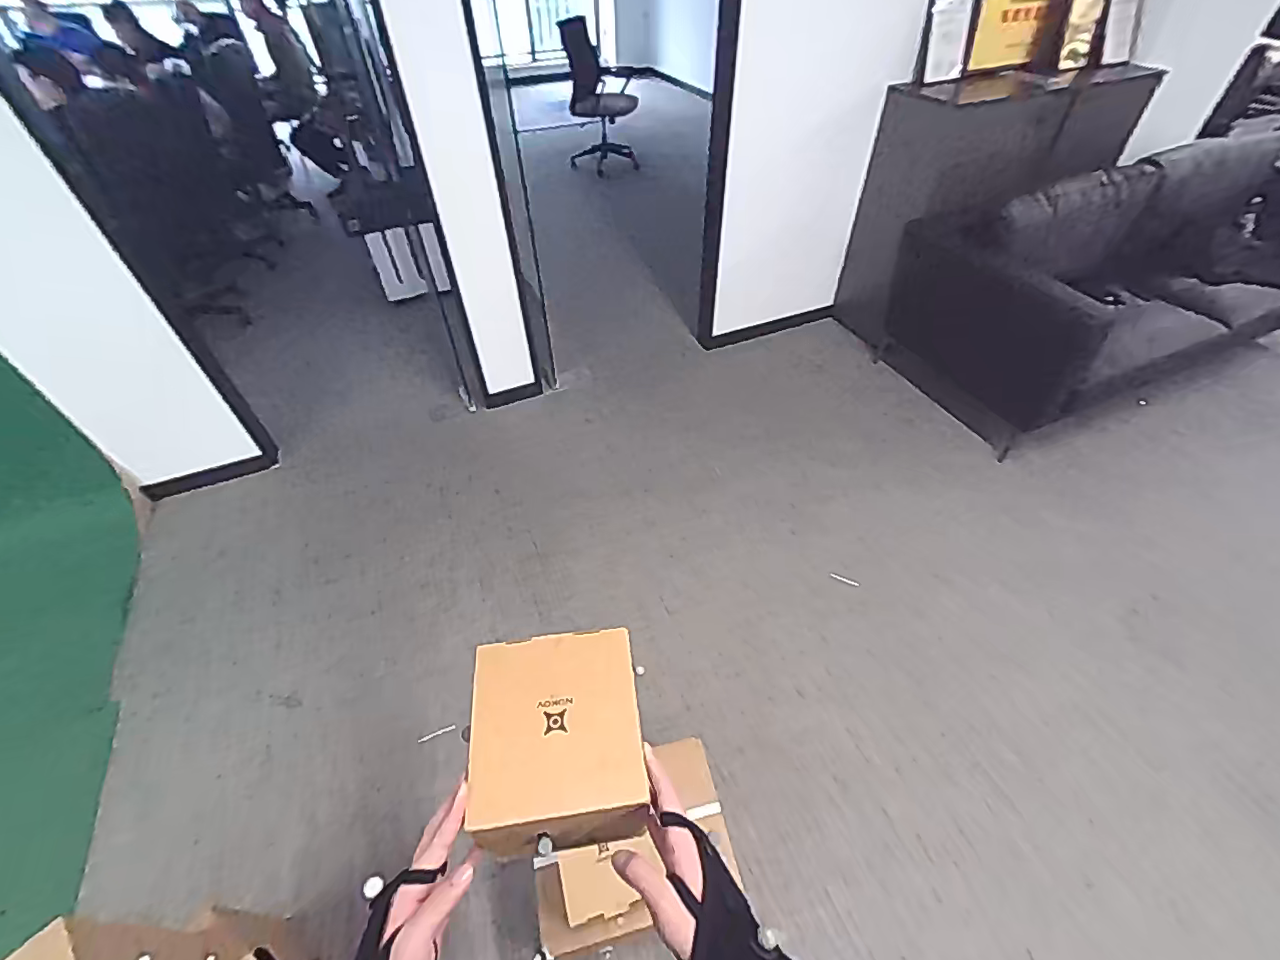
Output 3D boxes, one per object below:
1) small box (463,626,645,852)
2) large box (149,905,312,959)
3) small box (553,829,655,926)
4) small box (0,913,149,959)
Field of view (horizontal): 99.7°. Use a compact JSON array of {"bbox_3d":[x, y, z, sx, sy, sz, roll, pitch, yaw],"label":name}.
[{"bbox_3d":[-0.085,0.286,0.591,0.168,0.176,0.179,-6,47,-6],"label":"small box"},{"bbox_3d":[-0.847,1.120,1.012,0.320,0.320,0.408,26,53,24],"label":"large box"},{"bbox_3d":[-0.072,0.723,1.038,0.168,0.176,0.179,-13,50,-11],"label":"small box"},{"bbox_3d":[-0.850,0.776,0.772,0.168,0.176,0.179,33,55,28],"label":"small box"}]
